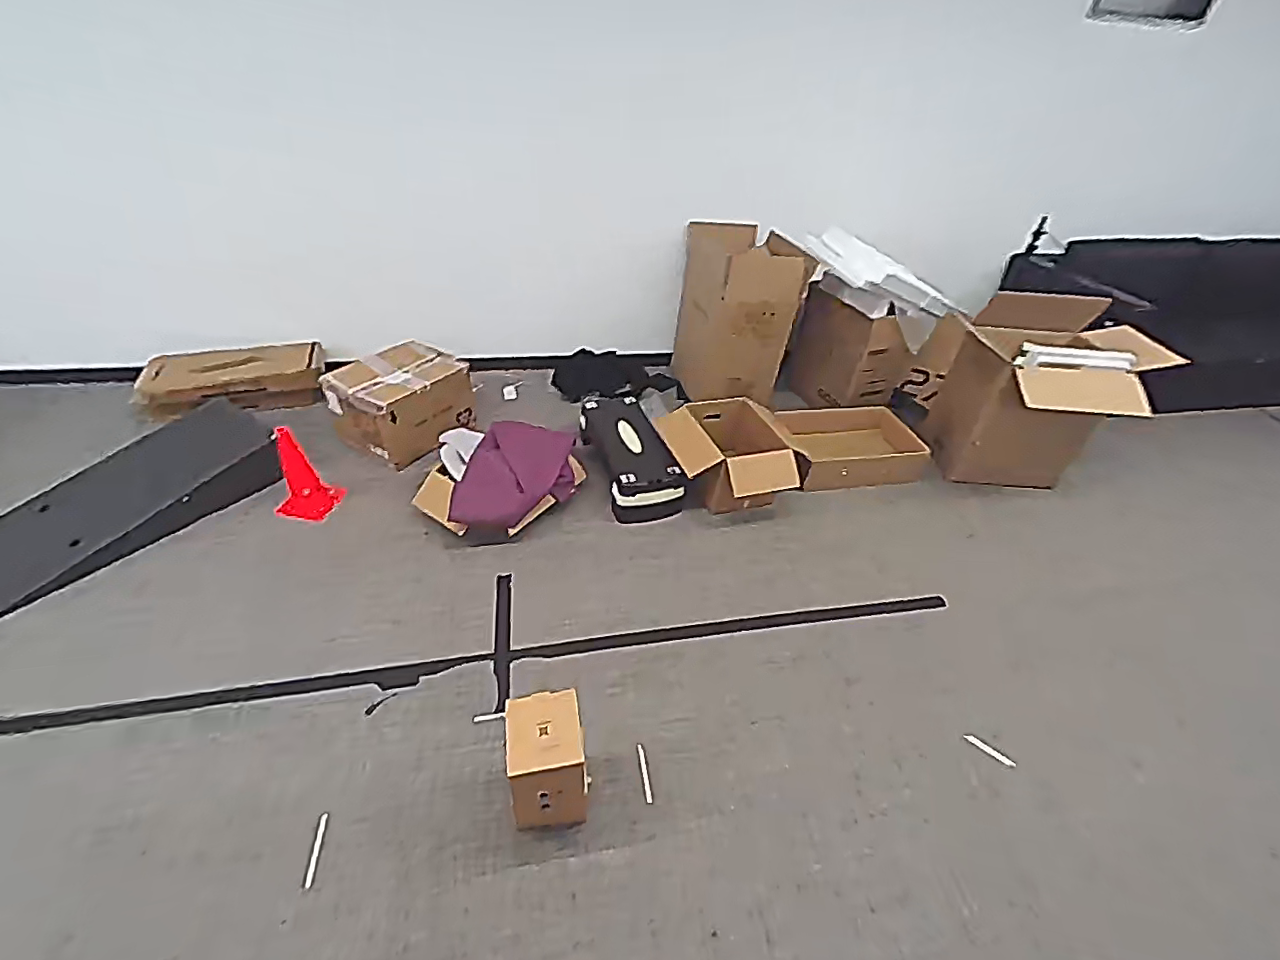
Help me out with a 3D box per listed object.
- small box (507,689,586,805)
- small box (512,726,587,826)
[{"bbox_3d":[-0.218,0.620,1.257,0.168,0.176,0.179,-6,42,-12],"label":"small box"},{"bbox_3d":[-0.224,0.746,1.359,0.179,0.176,0.168,-1,40,-9],"label":"small box"}]
